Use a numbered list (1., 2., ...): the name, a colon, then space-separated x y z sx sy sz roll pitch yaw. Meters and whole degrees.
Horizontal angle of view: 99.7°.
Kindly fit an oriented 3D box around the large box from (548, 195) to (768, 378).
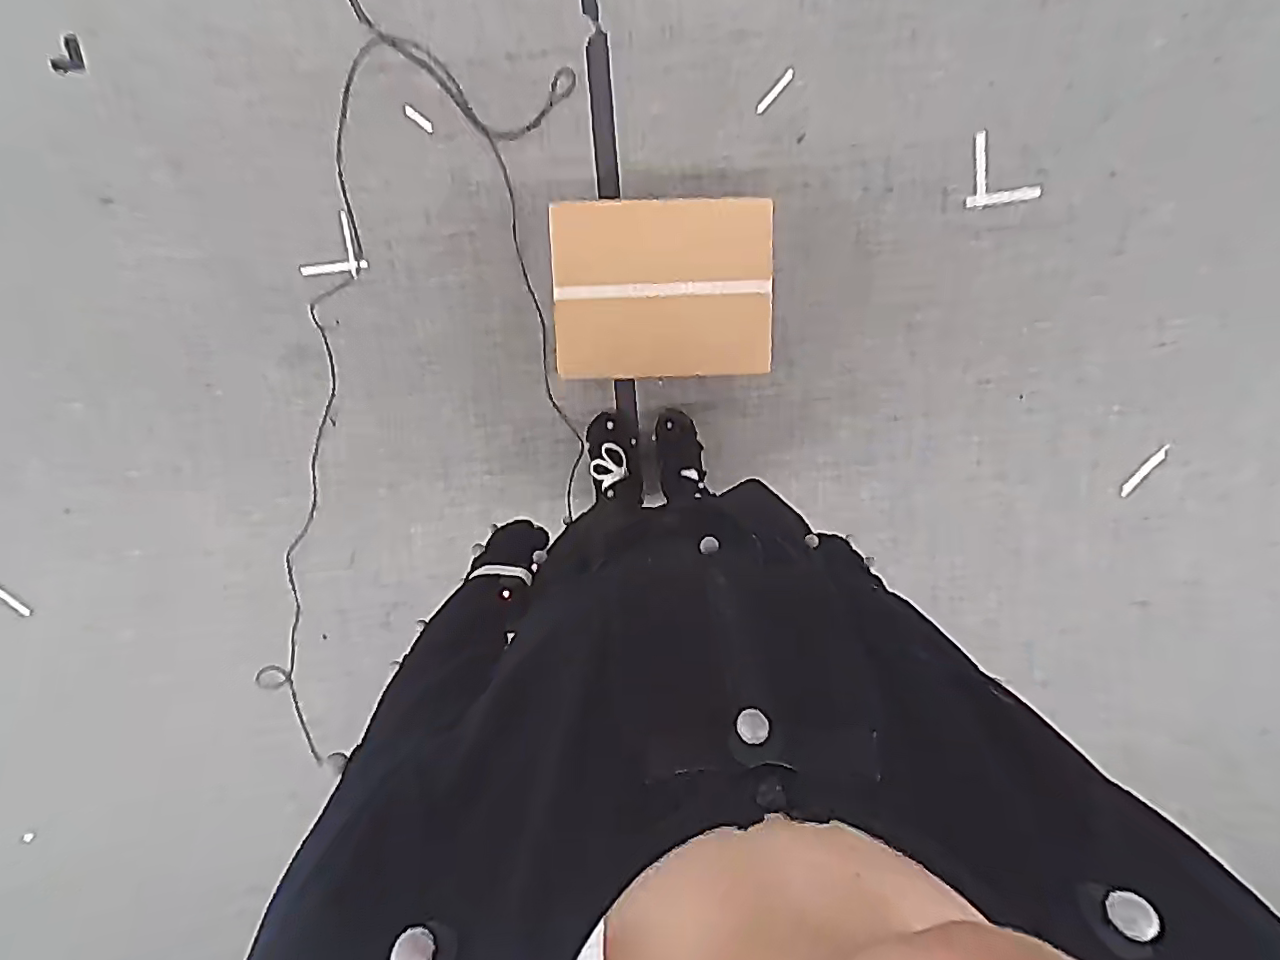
1. large box: 0.033 -0.383 1.146 0.408 0.320 0.320 -2 102 -2
